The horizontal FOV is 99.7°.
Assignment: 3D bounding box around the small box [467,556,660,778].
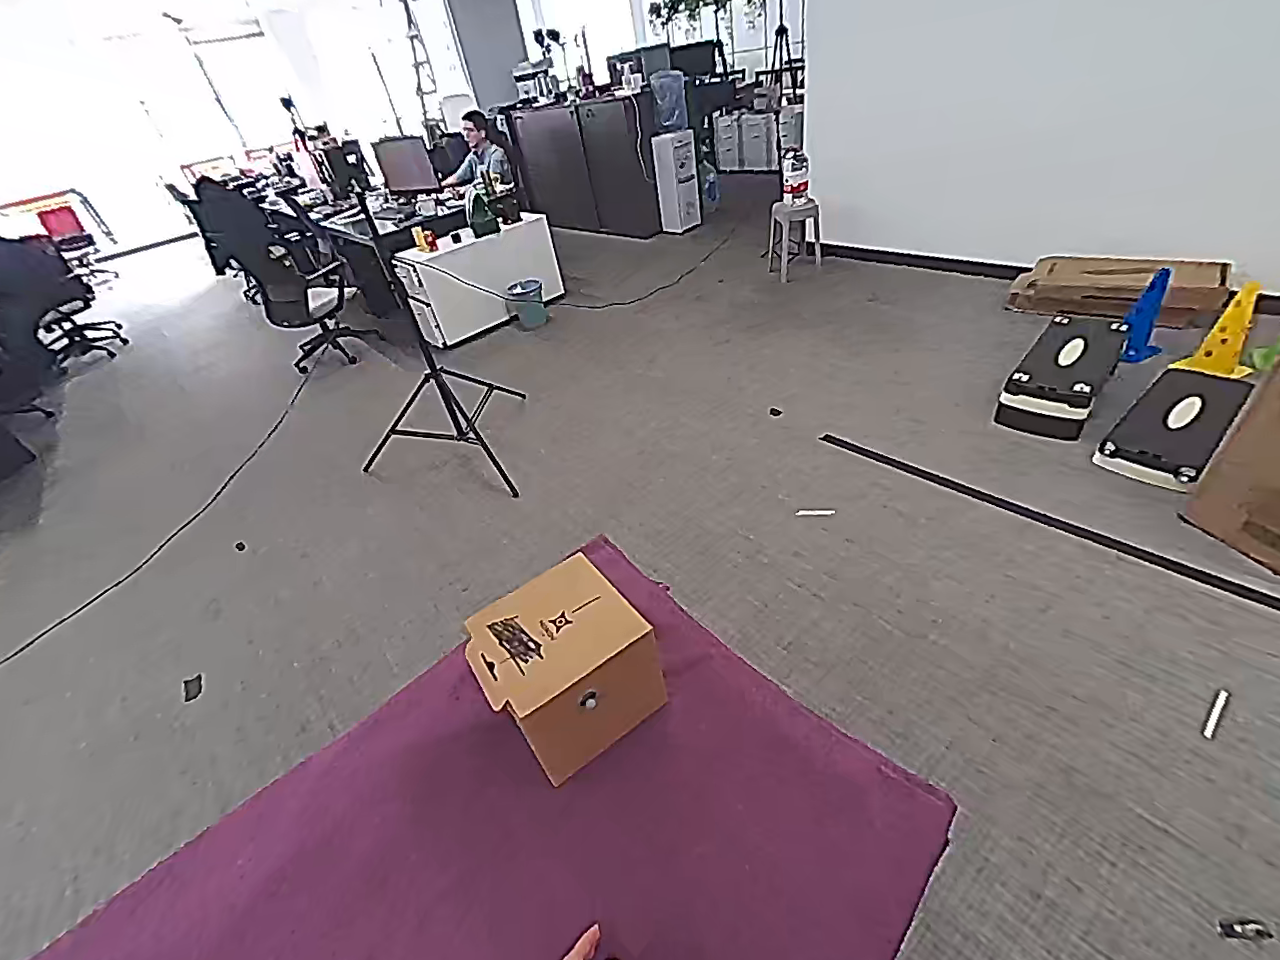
[{"bbox_3d":[-0.091,0.239,0.698,0.179,0.176,0.168,-29,43,-23],"label":"small box"}]
